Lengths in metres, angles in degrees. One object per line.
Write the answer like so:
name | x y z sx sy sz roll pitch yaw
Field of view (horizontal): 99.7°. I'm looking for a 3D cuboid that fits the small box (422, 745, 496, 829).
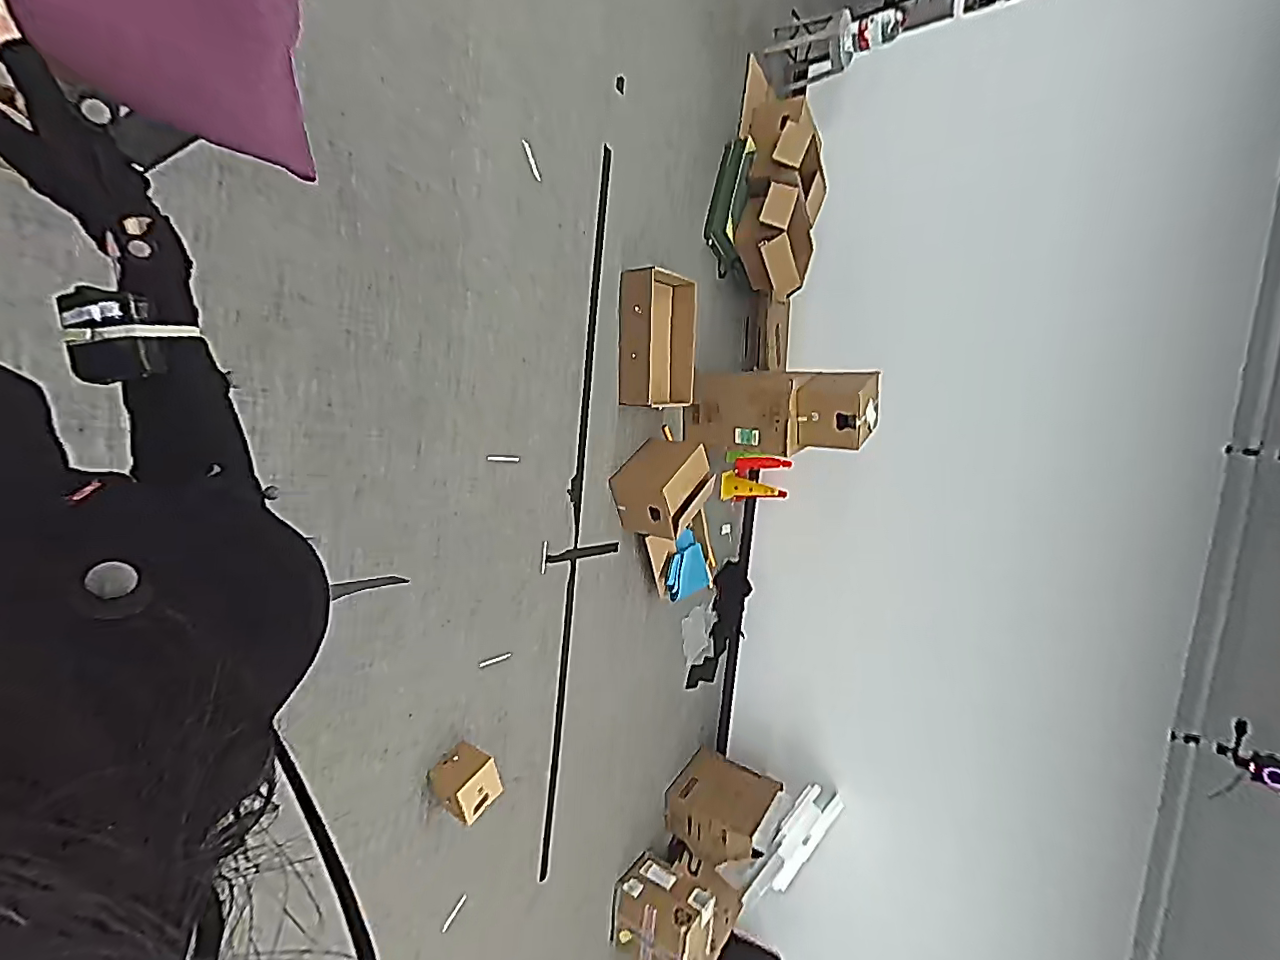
small box | -0.658 1.107 1.963 0.168 0.176 0.179 -35 125 -48
